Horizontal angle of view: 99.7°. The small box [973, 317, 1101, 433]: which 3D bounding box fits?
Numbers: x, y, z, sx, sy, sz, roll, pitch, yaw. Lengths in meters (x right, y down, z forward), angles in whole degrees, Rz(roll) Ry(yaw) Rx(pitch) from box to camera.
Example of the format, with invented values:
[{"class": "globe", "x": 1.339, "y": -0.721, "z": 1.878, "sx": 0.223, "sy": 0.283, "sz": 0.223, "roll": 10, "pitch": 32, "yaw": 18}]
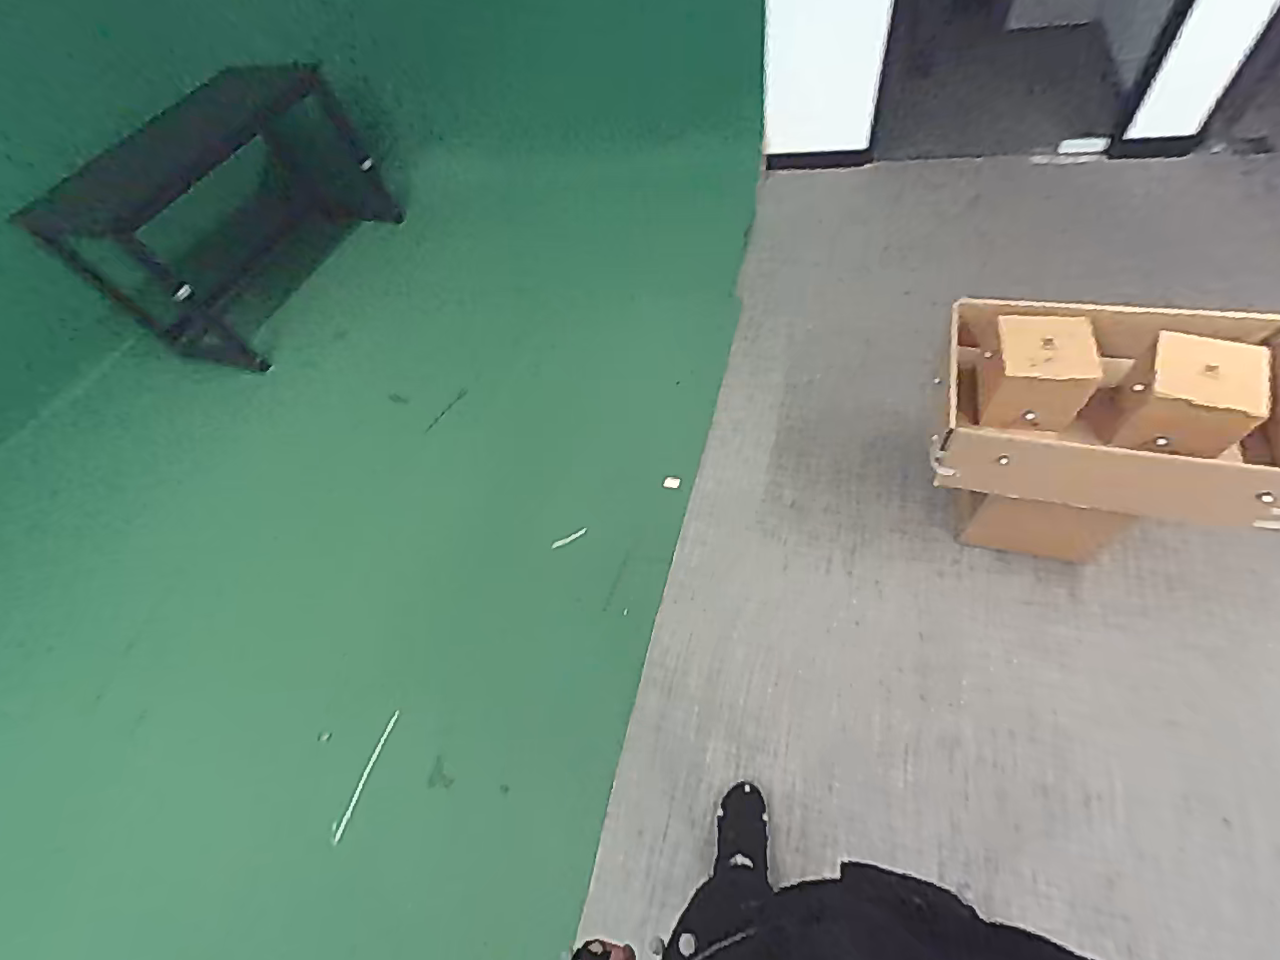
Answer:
[{"class": "small box", "x": 0.832, "y": -0.224, "z": 1.155, "sx": 0.168, "sy": 0.176, "sz": 0.179, "roll": 6, "pitch": 59, "yaw": 16}]
